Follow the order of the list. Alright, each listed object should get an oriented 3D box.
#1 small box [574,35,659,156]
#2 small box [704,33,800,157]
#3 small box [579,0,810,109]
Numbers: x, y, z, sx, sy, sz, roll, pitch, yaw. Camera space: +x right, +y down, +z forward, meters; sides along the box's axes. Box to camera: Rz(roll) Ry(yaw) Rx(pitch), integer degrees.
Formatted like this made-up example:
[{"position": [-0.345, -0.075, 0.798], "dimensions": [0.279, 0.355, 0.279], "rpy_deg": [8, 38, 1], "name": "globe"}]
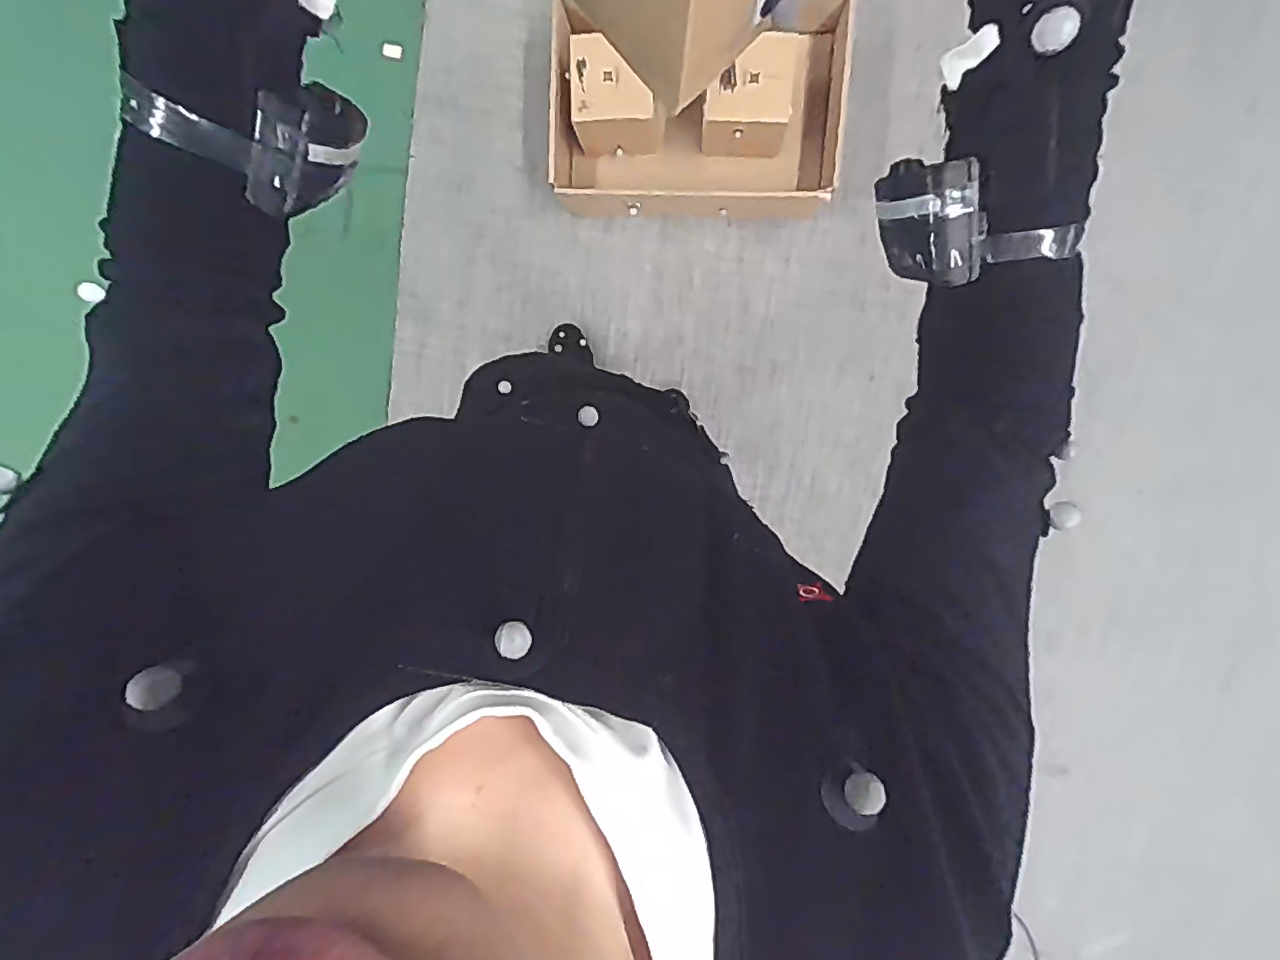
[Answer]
[{"position": [-0.046, -0.839, 1.193], "dimensions": [0.179, 0.176, 0.168], "rpy_deg": [1, 98, 4], "name": "small box"}, {"position": [0.233, -0.822, 1.169], "dimensions": [0.179, 0.176, 0.168], "rpy_deg": [6, 100, 5], "name": "small box"}, {"position": [0.024, -0.329, 0.247], "dimensions": [0.168, 0.176, 0.179], "rpy_deg": [-43, 95, 7], "name": "small box"}]
